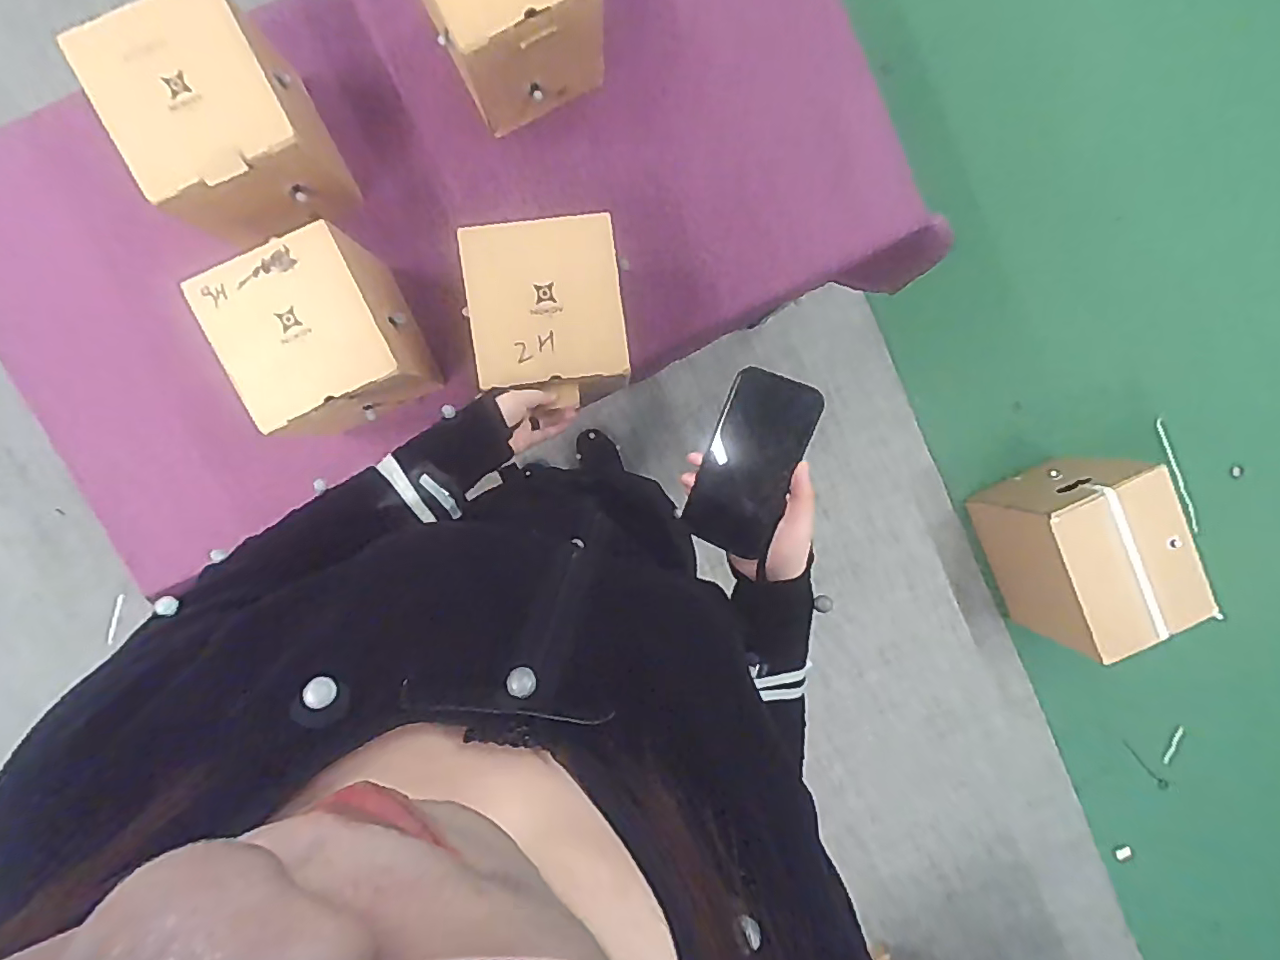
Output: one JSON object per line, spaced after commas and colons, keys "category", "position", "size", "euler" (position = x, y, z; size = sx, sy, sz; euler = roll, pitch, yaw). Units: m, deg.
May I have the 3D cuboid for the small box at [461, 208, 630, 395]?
{"category": "small box", "position": [-0.105, -0.204, 0.660], "size": [0.168, 0.176, 0.179], "euler": [-7, 96, -2]}

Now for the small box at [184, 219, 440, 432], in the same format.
{"category": "small box", "position": [-0.369, -0.171, 0.649], "size": [0.168, 0.176, 0.179], "euler": [-25, 97, -1]}

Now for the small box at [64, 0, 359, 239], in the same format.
{"category": "small box", "position": [-0.464, -0.403, 0.622], "size": [0.168, 0.176, 0.179], "euler": [-26, 97, -2]}

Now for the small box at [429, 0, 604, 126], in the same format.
{"category": "small box", "position": [-0.153, -0.565, 0.625], "size": [0.168, 0.176, 0.179], "euler": [-28, 97, 0]}
